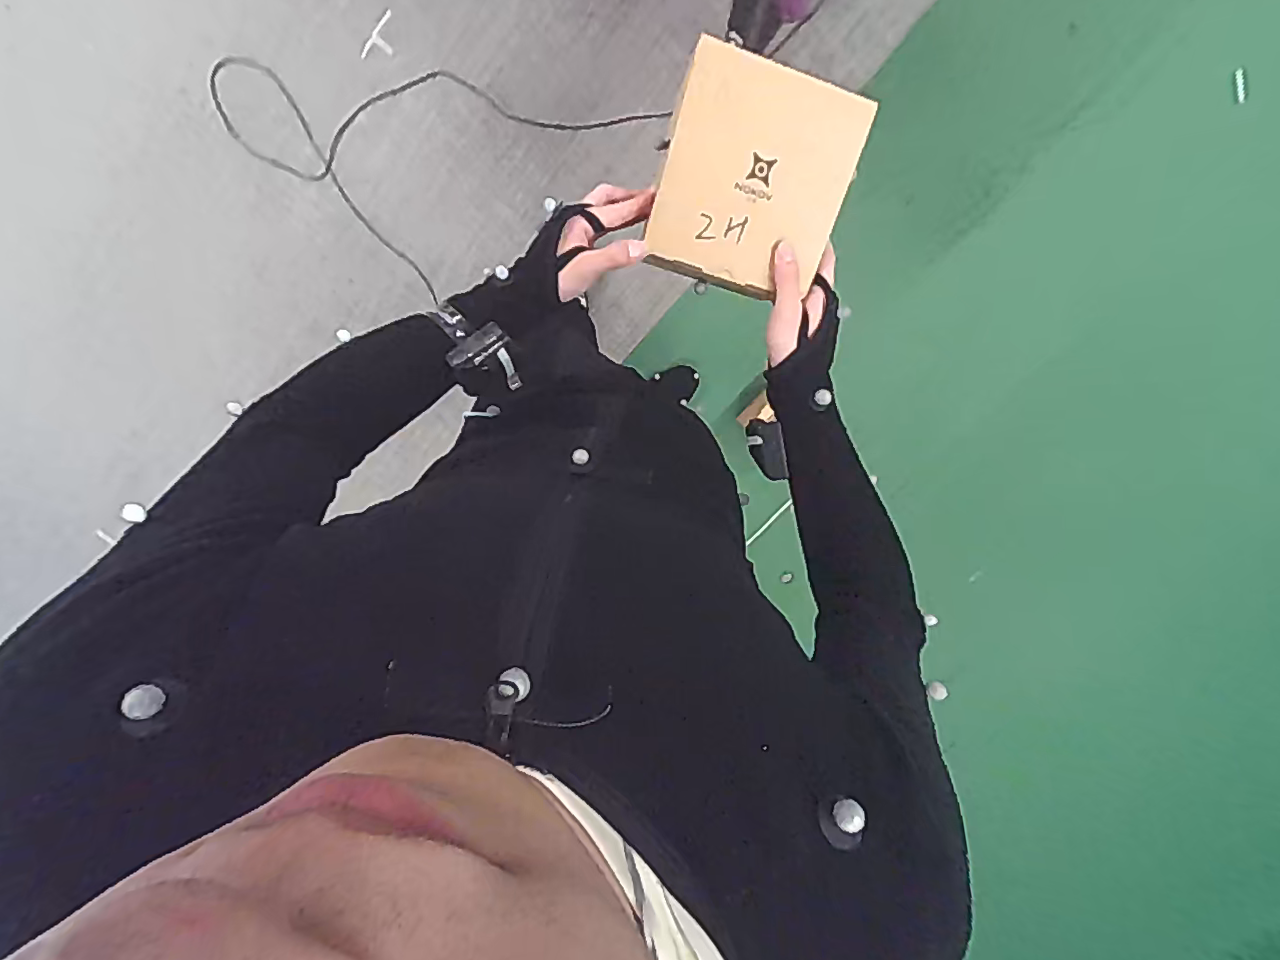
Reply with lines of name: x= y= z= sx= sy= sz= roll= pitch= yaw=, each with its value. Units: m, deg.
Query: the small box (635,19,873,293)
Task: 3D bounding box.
small box: x=0.094 y=-0.302 z=0.548 sx=0.168 sy=0.176 sz=0.179 roll=14 pitch=109 yaw=-8
